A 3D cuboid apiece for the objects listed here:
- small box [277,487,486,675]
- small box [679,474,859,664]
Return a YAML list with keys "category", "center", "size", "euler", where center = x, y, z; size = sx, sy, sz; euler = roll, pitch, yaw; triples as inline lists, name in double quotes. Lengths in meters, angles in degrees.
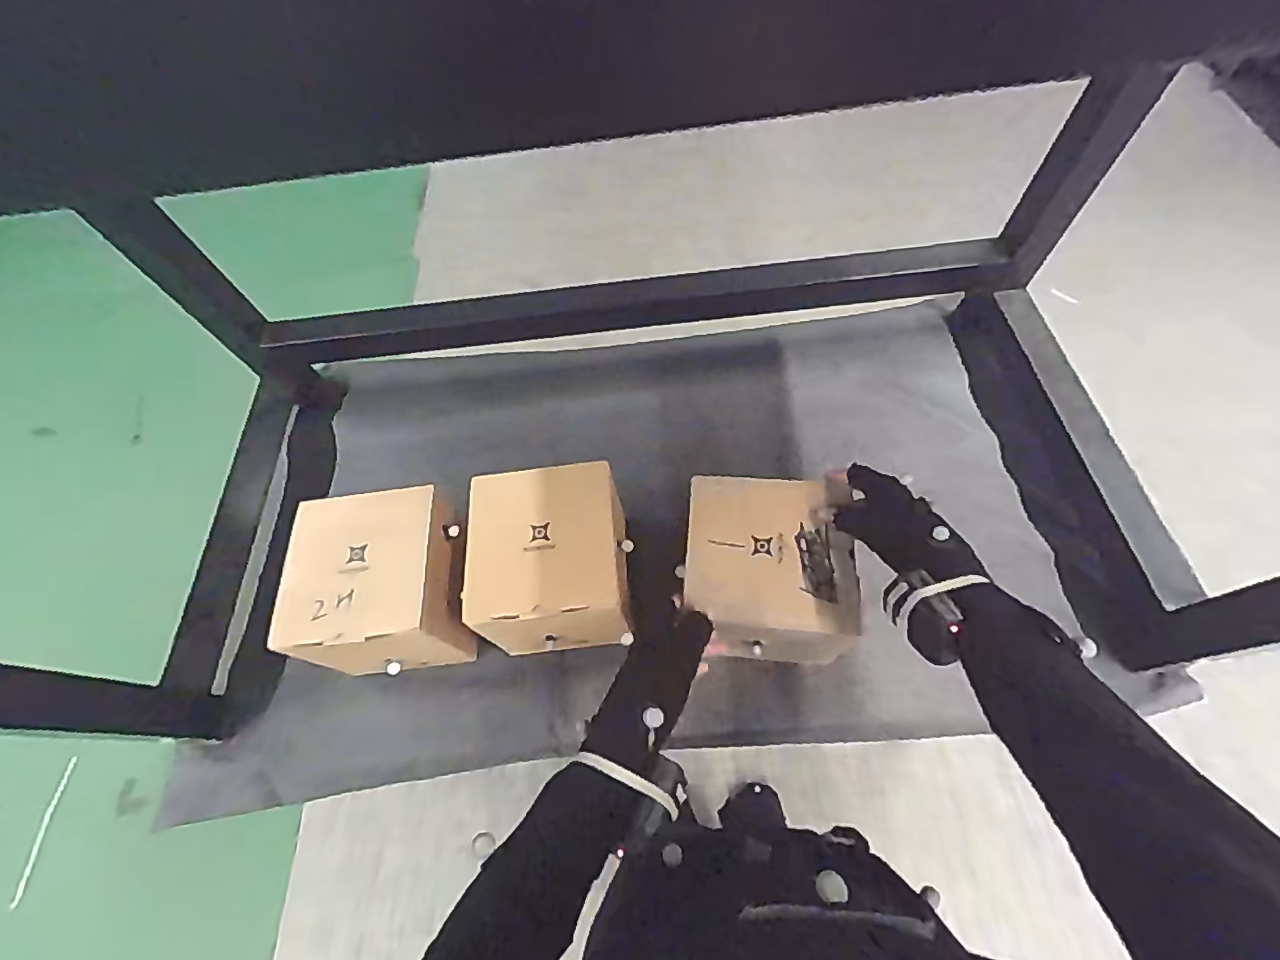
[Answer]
- category: "small box"
  center: [-0.301, 0.131, 0.675]
  size: [0.168, 0.176, 0.179]
  euler: [-8, 61, 2]
- category: "small box"
  center: [0.146, 0.110, 0.637]
  size: [0.179, 0.176, 0.168]
  euler: [5, 61, 11]
